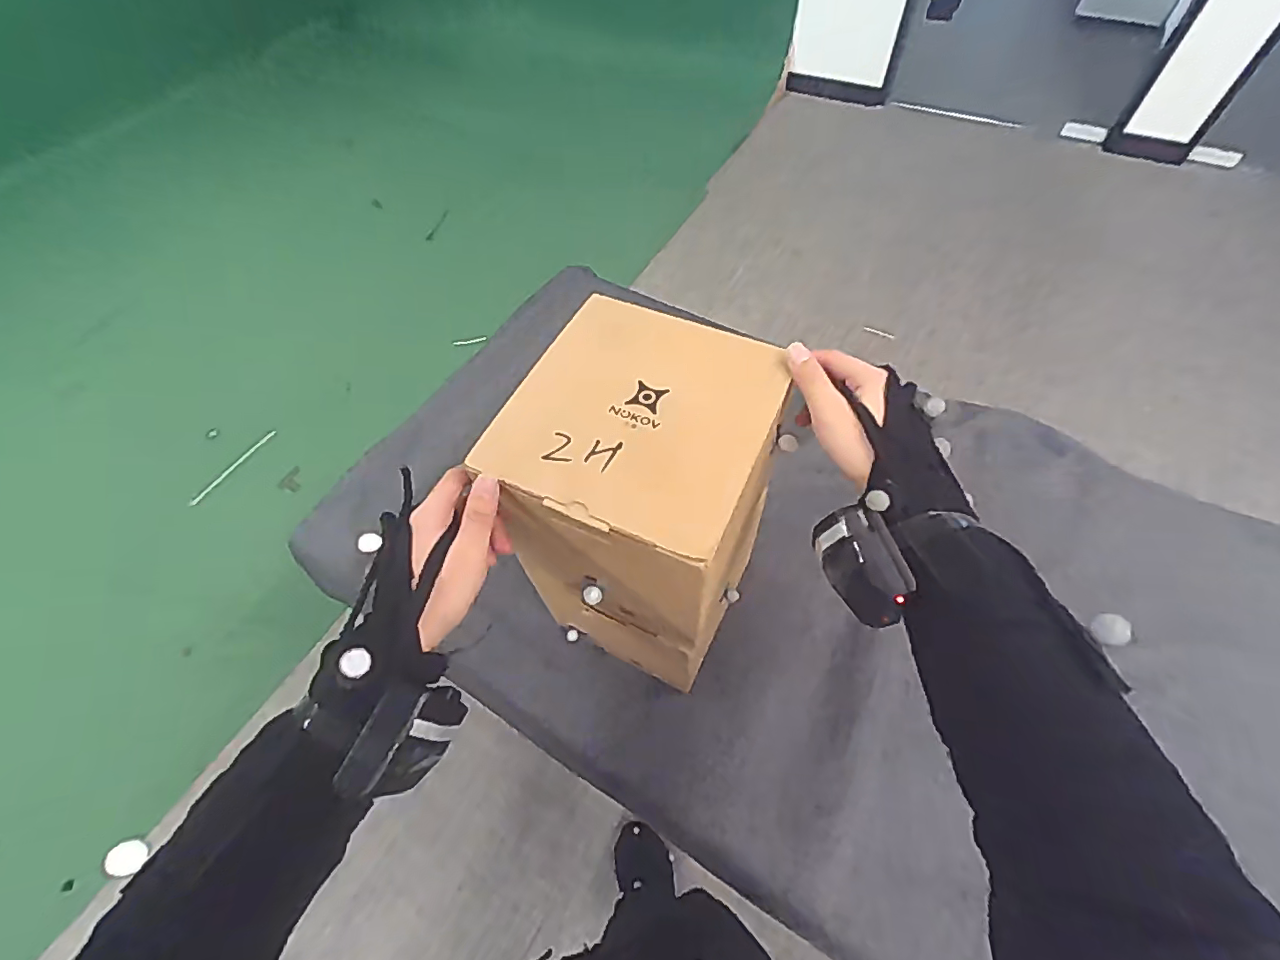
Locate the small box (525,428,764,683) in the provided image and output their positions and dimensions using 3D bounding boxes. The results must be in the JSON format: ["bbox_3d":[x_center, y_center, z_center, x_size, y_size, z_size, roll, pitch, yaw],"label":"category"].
[{"bbox_3d":[0.012,0.084,0.560,0.168,0.176,0.179,23,62,17],"label":"small box"}]
